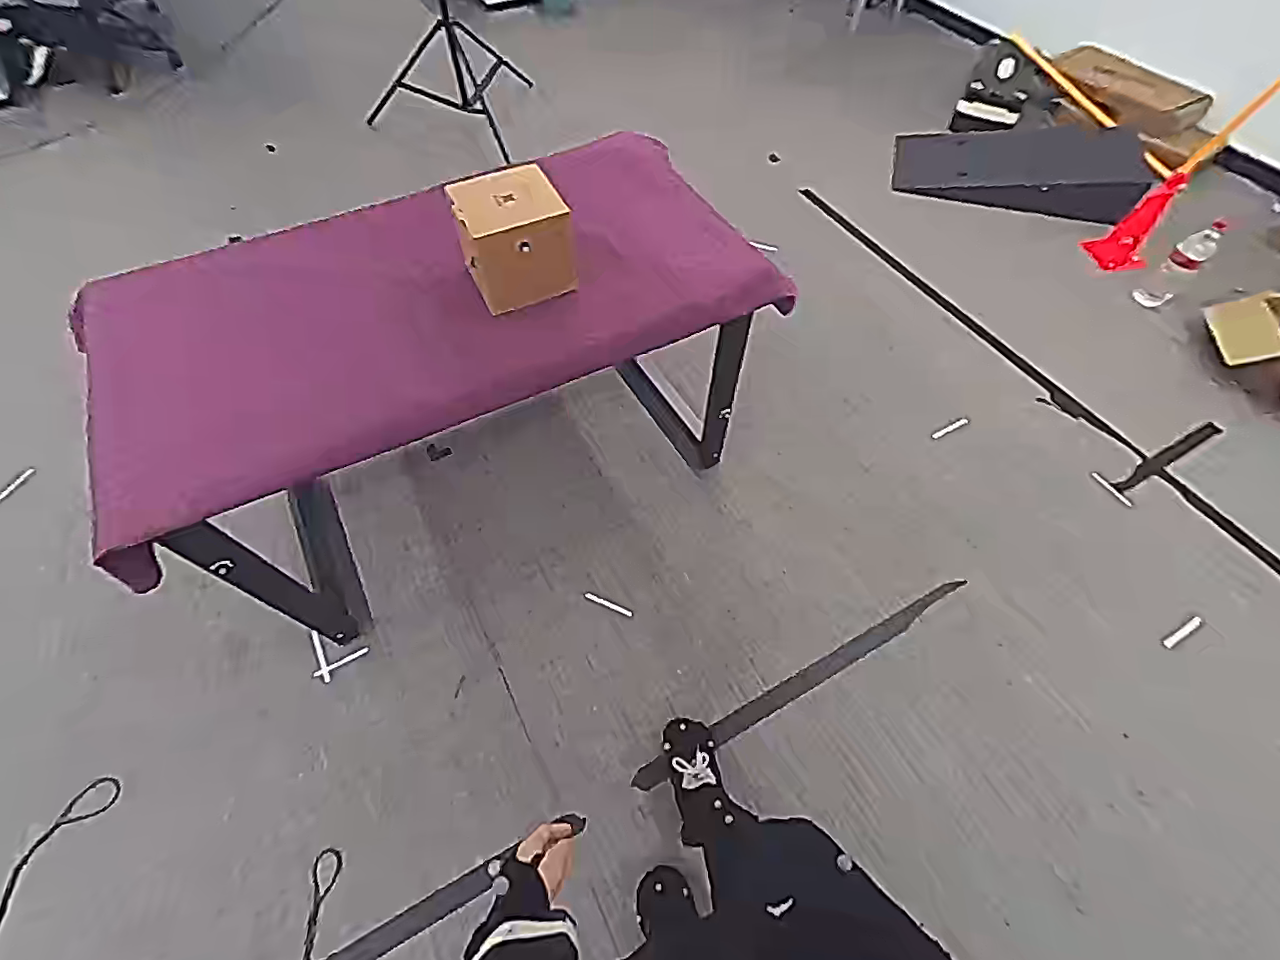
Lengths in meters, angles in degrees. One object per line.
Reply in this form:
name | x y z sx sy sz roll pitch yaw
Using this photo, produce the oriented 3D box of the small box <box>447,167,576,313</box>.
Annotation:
small box | -0.231 -0.442 1.007 0.179 0.176 0.168 -23 62 -14
